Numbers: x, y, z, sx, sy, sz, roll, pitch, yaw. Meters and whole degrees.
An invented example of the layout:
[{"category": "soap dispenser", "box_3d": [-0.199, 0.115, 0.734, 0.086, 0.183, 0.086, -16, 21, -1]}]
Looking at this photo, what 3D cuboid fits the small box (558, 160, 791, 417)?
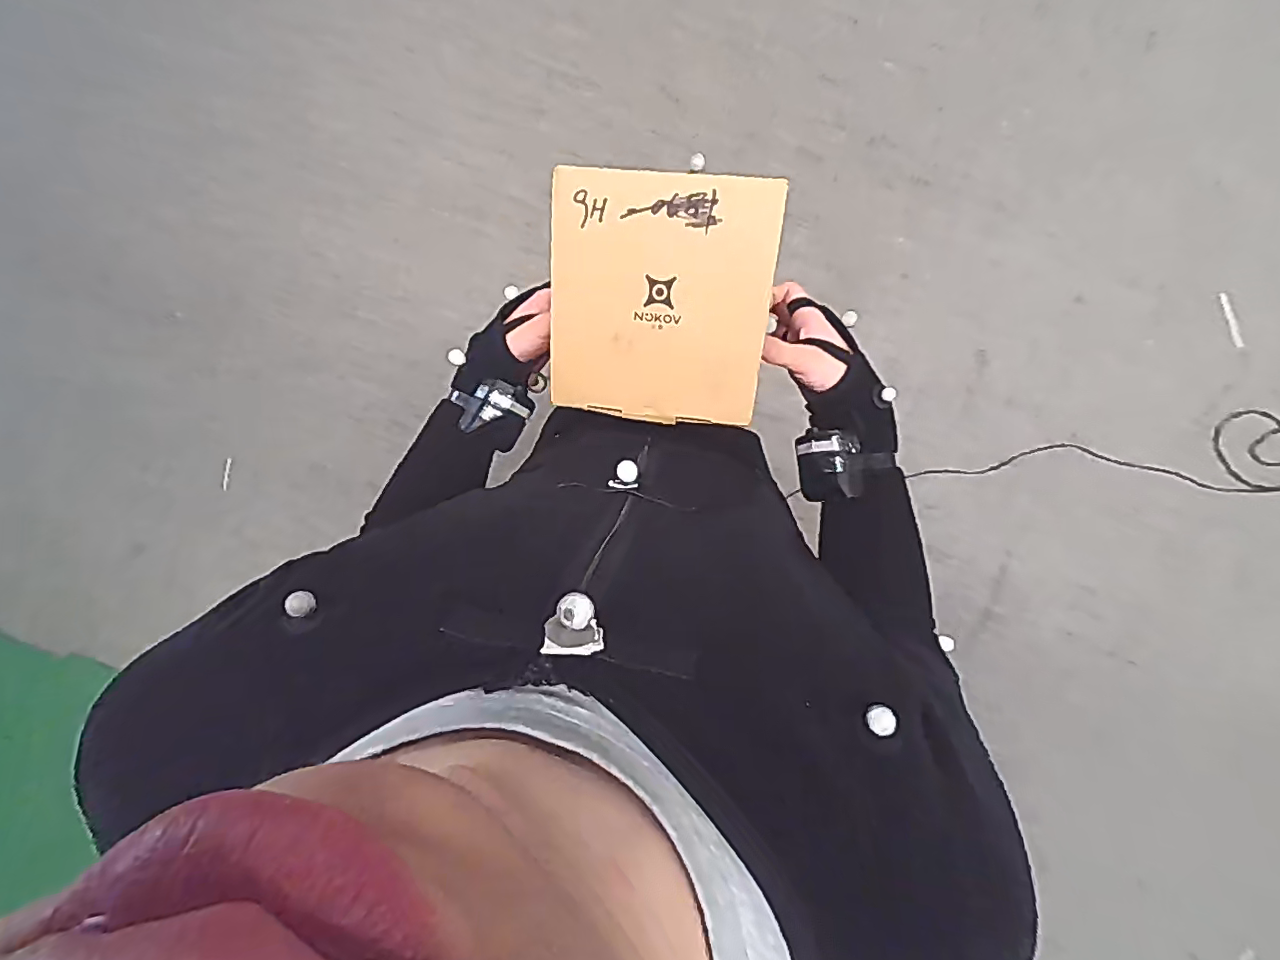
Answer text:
[{"category": "small box", "box_3d": [0.029, -0.171, 0.480, 0.168, 0.176, 0.179, 6, 115, 6]}]
